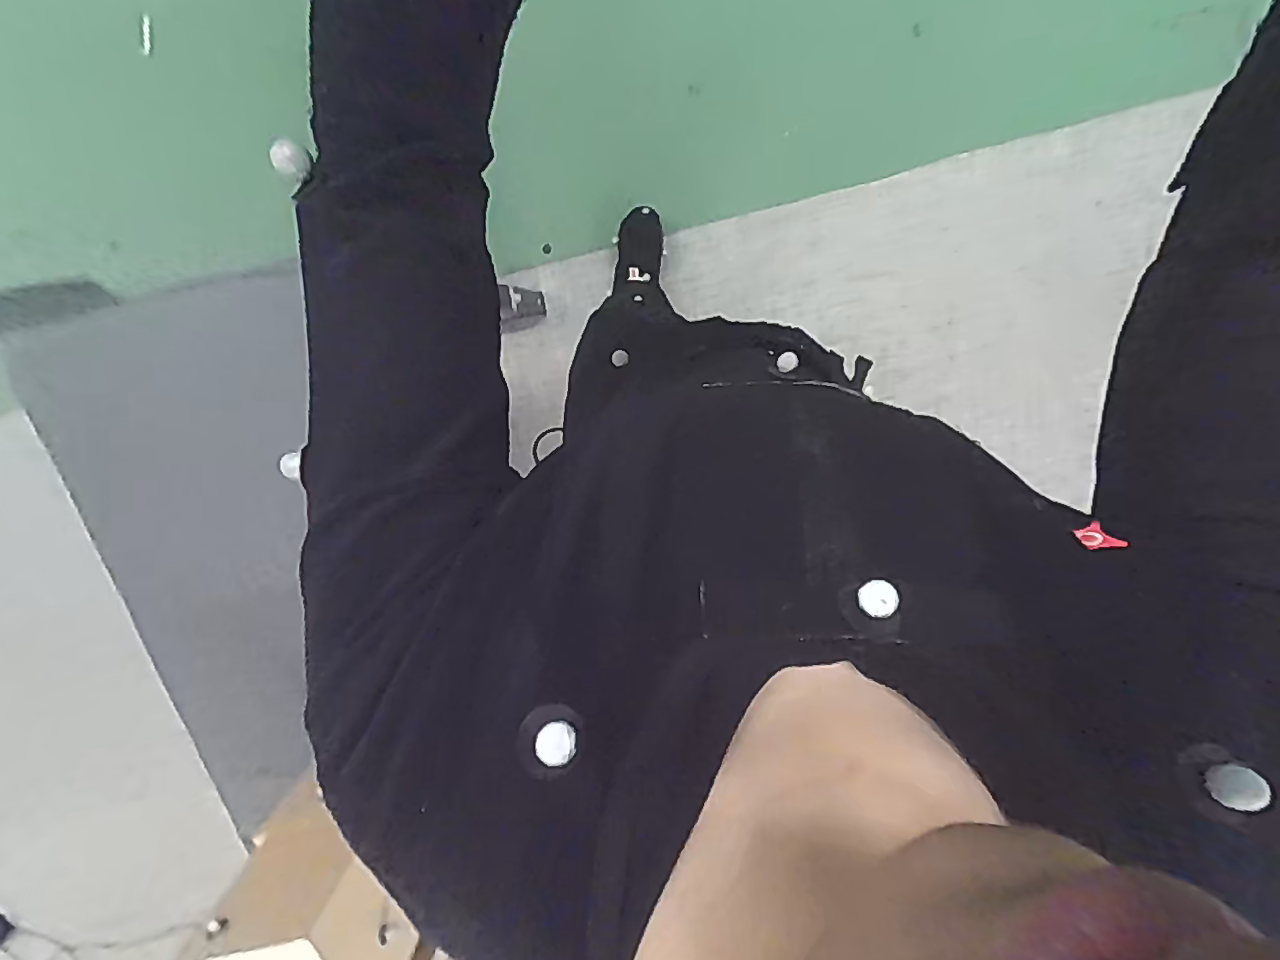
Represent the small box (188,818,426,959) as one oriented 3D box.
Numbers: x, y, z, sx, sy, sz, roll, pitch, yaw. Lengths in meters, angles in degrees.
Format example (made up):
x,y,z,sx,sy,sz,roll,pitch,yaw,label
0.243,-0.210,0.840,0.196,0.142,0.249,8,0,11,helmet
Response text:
x,y,z,sx,sy,sz,roll,pitch,yaw,label
-0.382,0.545,0.646,0.179,0.176,0.168,-18,103,7,small box
